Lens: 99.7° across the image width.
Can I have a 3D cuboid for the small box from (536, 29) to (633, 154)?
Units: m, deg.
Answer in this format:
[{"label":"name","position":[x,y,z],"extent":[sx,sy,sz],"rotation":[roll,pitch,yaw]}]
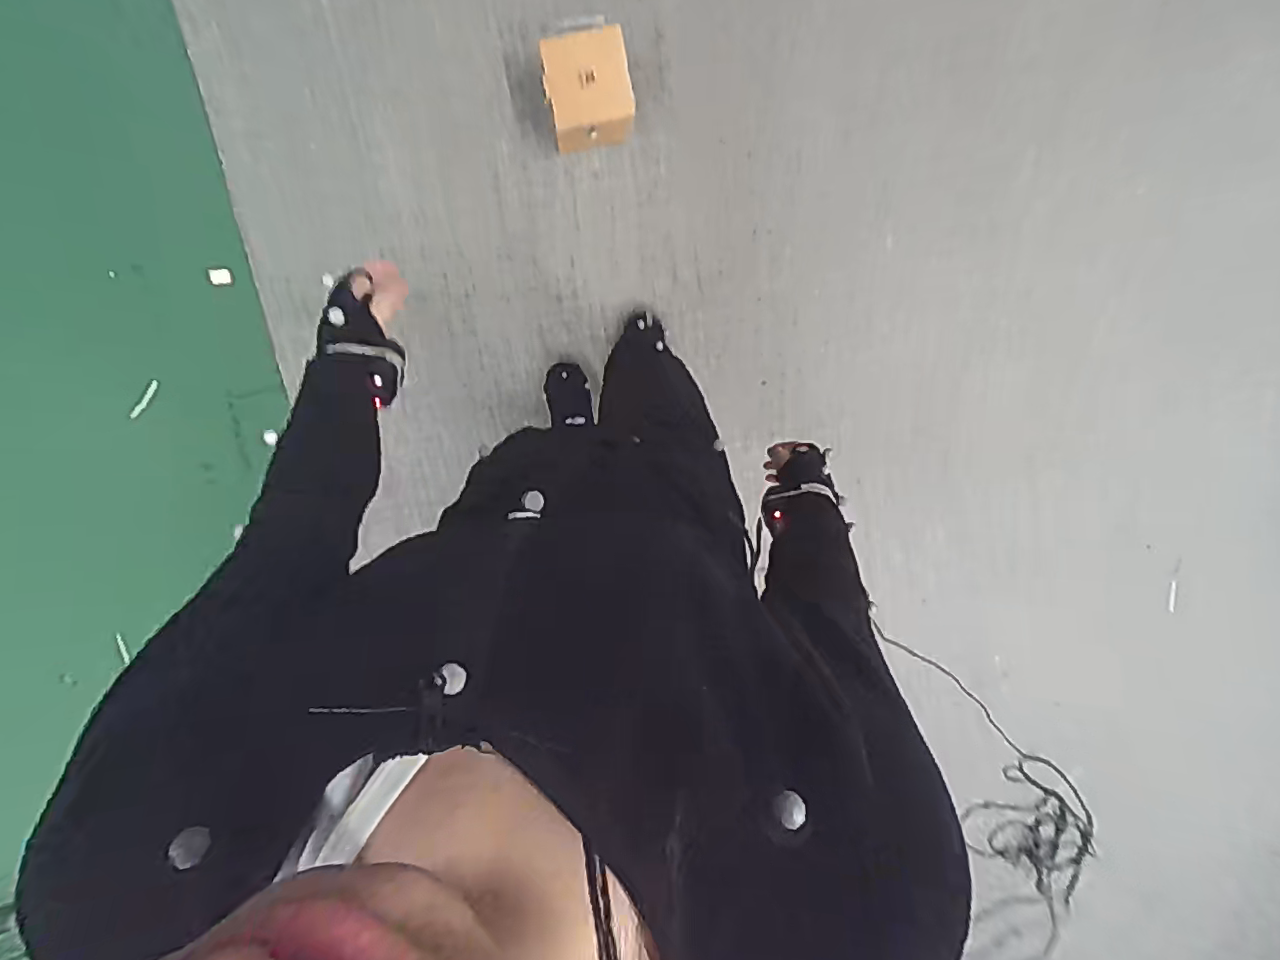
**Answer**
[{"label":"small box","position":[-0.121,-0.847,1.194],"extent":[0.179,0.176,0.168],"rotation":[-12,107,-1]}]
